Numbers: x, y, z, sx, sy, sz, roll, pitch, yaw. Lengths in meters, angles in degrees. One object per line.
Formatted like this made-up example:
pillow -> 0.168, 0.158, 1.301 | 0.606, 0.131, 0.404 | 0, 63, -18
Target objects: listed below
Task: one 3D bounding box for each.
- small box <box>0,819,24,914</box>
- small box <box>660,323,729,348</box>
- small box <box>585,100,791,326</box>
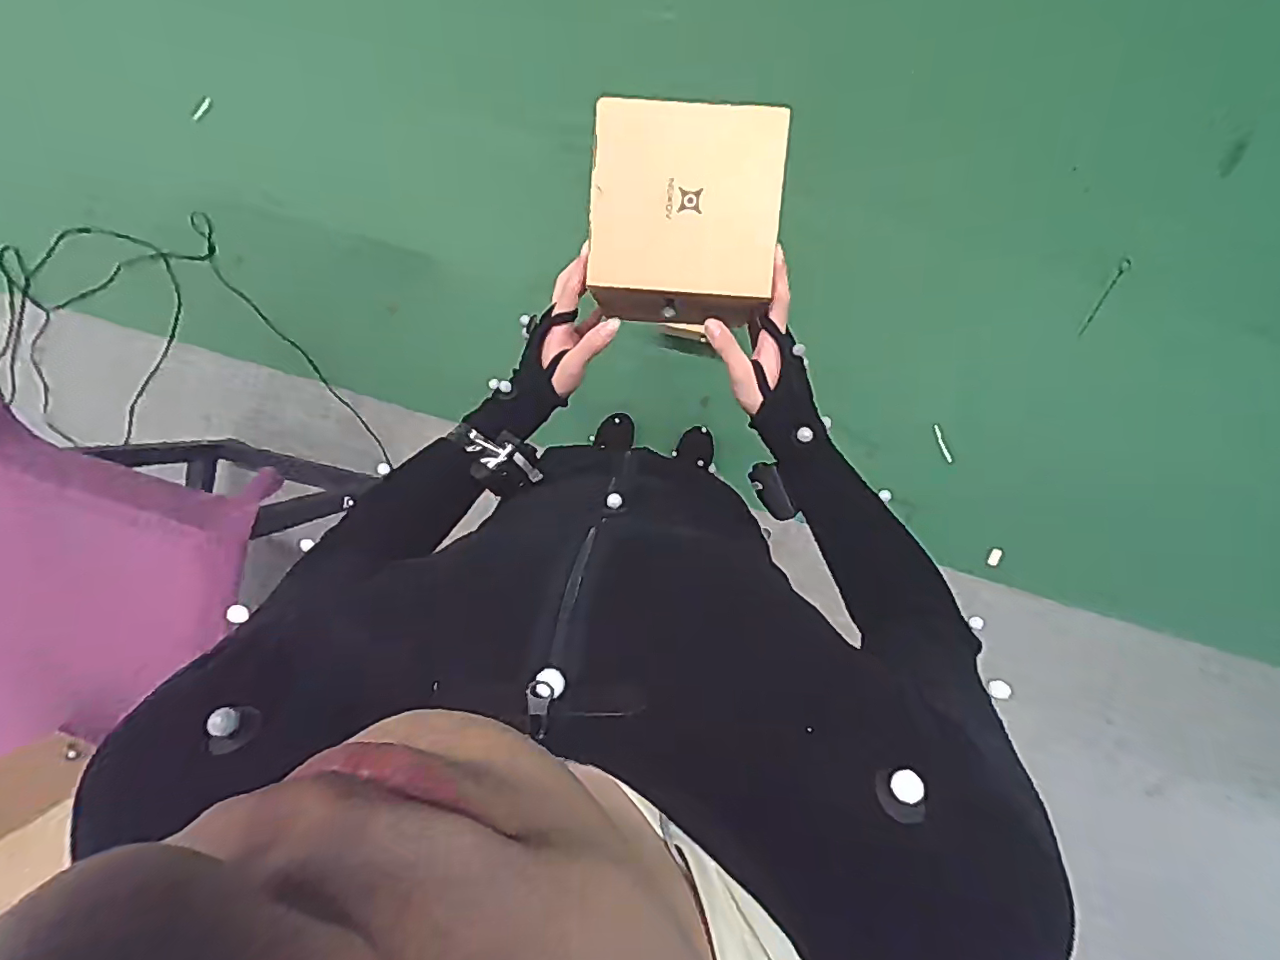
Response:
small box -> -1.103, 0.618, 0.810 | 0.168, 0.176, 0.179 | 20, 97, 2
small box -> 0.159, -0.468, 1.490 | 0.179, 0.176, 0.168 | 13, 97, 3
small box -> 0.046, -0.262, 0.571 | 0.179, 0.176, 0.168 | 5, 96, 4
